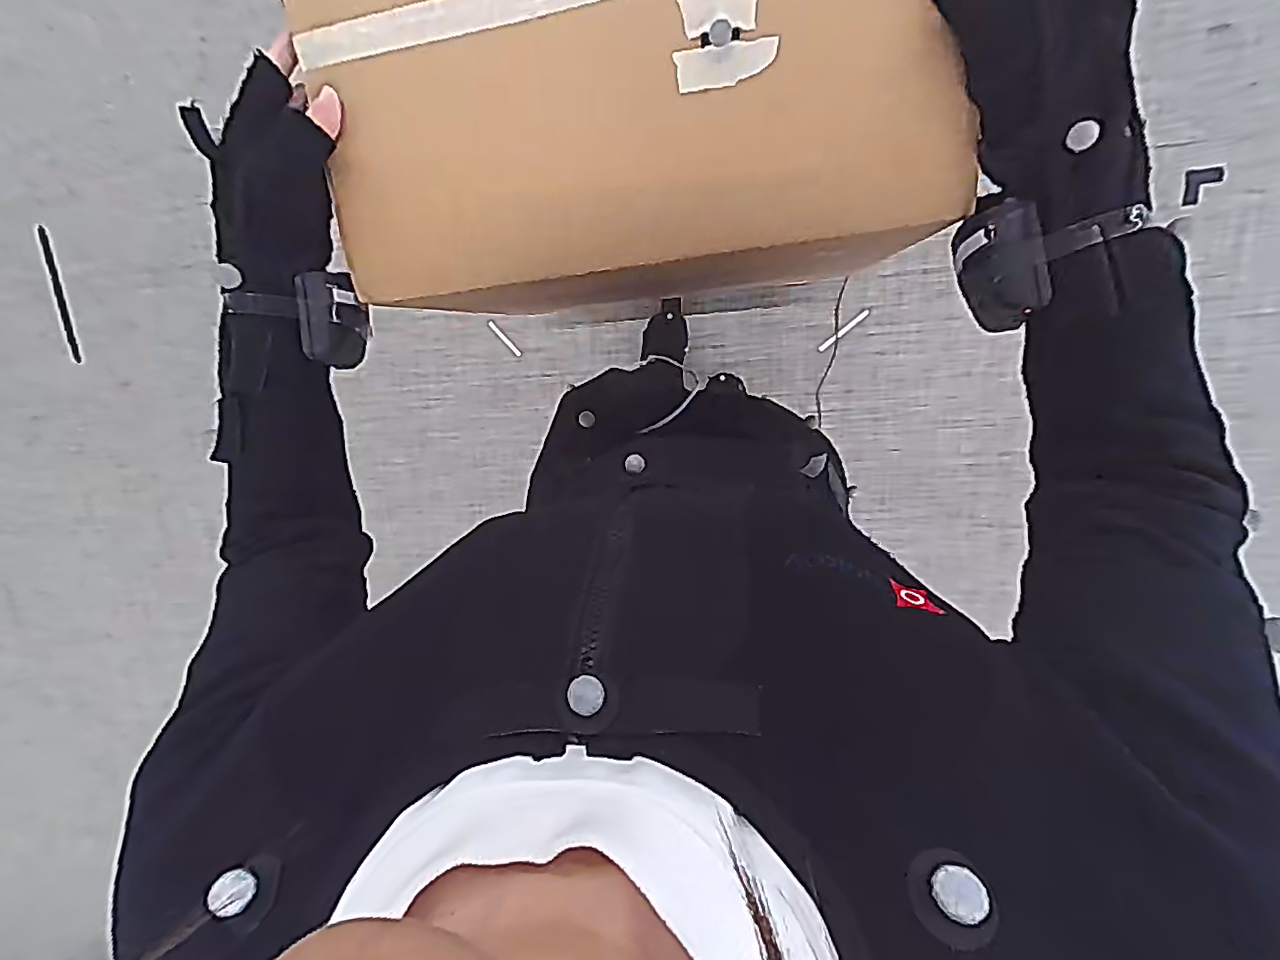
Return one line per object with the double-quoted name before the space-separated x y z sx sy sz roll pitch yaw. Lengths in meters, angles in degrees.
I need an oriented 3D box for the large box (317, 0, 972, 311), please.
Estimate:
"large box" 0.007 -0.338 0.467 0.408 0.320 0.320 -4 105 10
